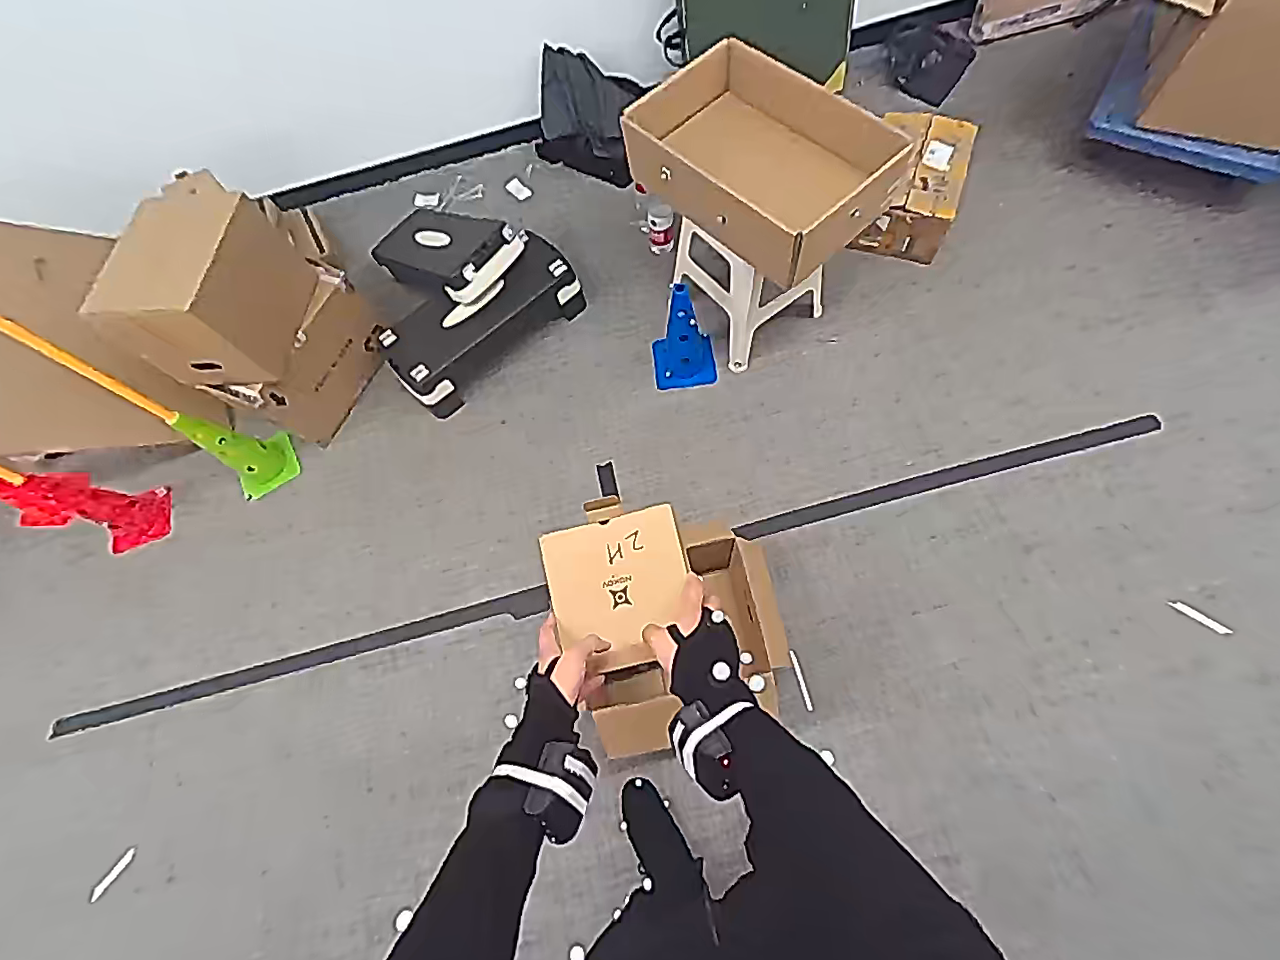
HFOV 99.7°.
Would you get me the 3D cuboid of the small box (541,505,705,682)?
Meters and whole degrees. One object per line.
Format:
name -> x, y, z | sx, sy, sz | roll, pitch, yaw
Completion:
small box -> -0.013, 0.146, 0.703 | 0.168, 0.176, 0.179 | -14, 76, 4
